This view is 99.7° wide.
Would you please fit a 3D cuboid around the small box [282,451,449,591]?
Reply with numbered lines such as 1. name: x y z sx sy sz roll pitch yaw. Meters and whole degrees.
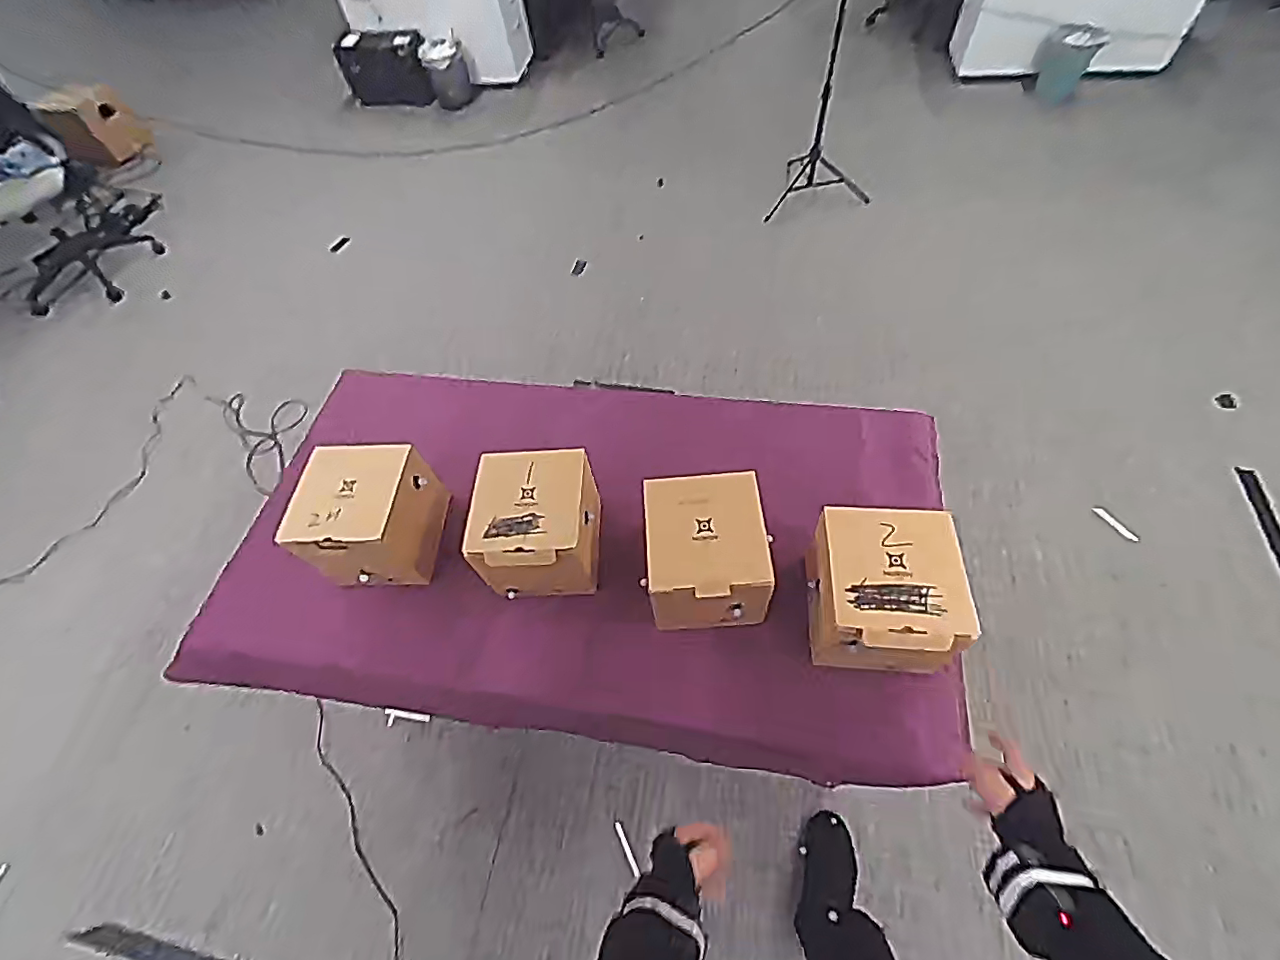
1. small box: -0.437 0.070 0.900 0.168 0.176 0.179 -1 57 5

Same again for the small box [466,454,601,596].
1. small box: -0.157 0.080 0.865 0.168 0.176 0.179 -3 56 4

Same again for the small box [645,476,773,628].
1. small box: 0.099 0.116 0.815 0.168 0.176 0.179 -5 56 3
